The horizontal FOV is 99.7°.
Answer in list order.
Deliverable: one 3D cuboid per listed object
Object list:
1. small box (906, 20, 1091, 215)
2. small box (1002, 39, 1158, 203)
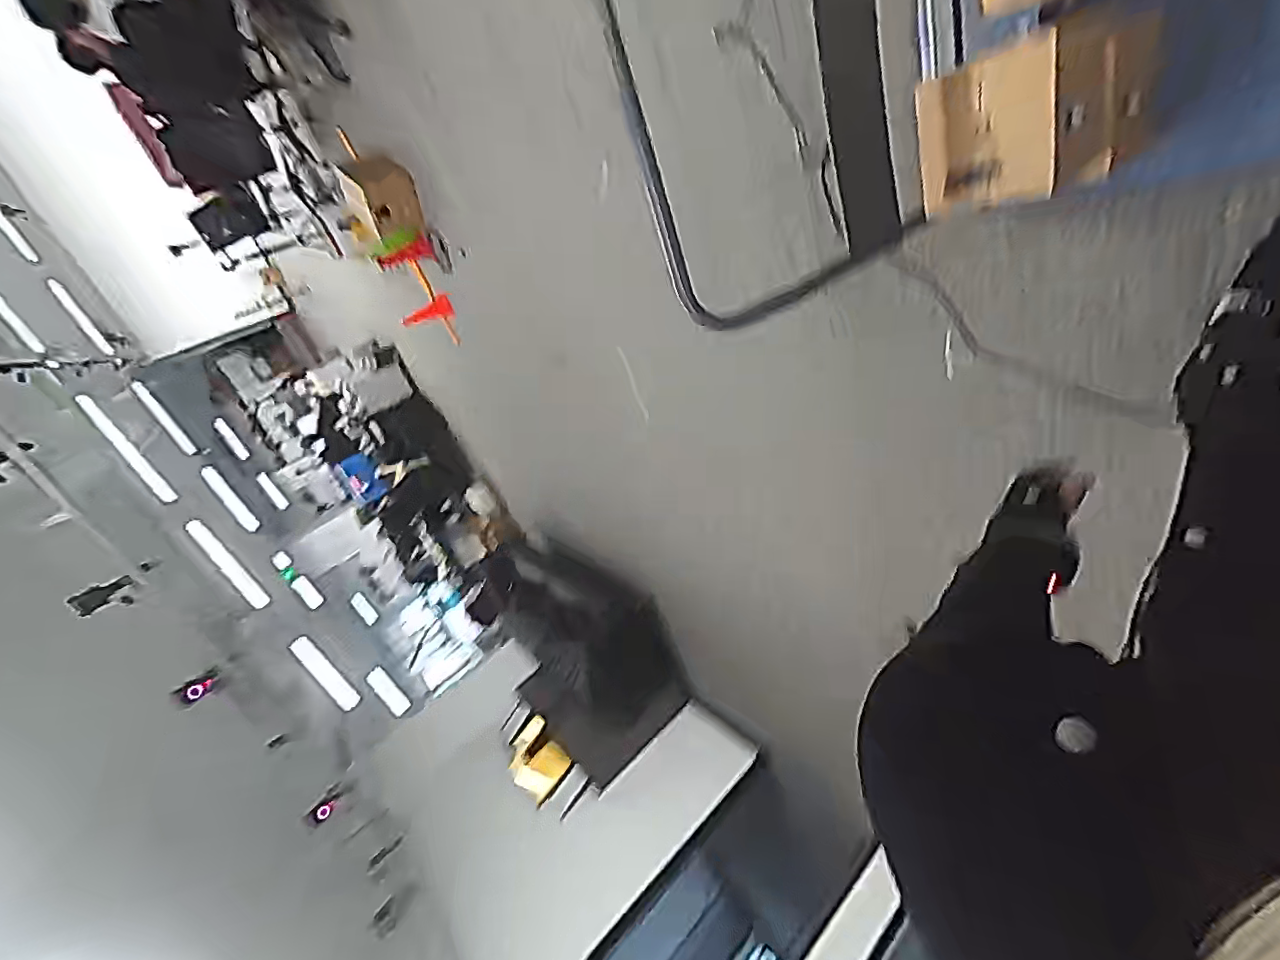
[{"bbox_3d":[0.501,-0.500,0.760,0.168,0.176,0.179,17,134,50],"label":"small box"},{"bbox_3d":[0.636,-0.569,0.846,0.179,0.176,0.168,42,152,26],"label":"small box"}]
